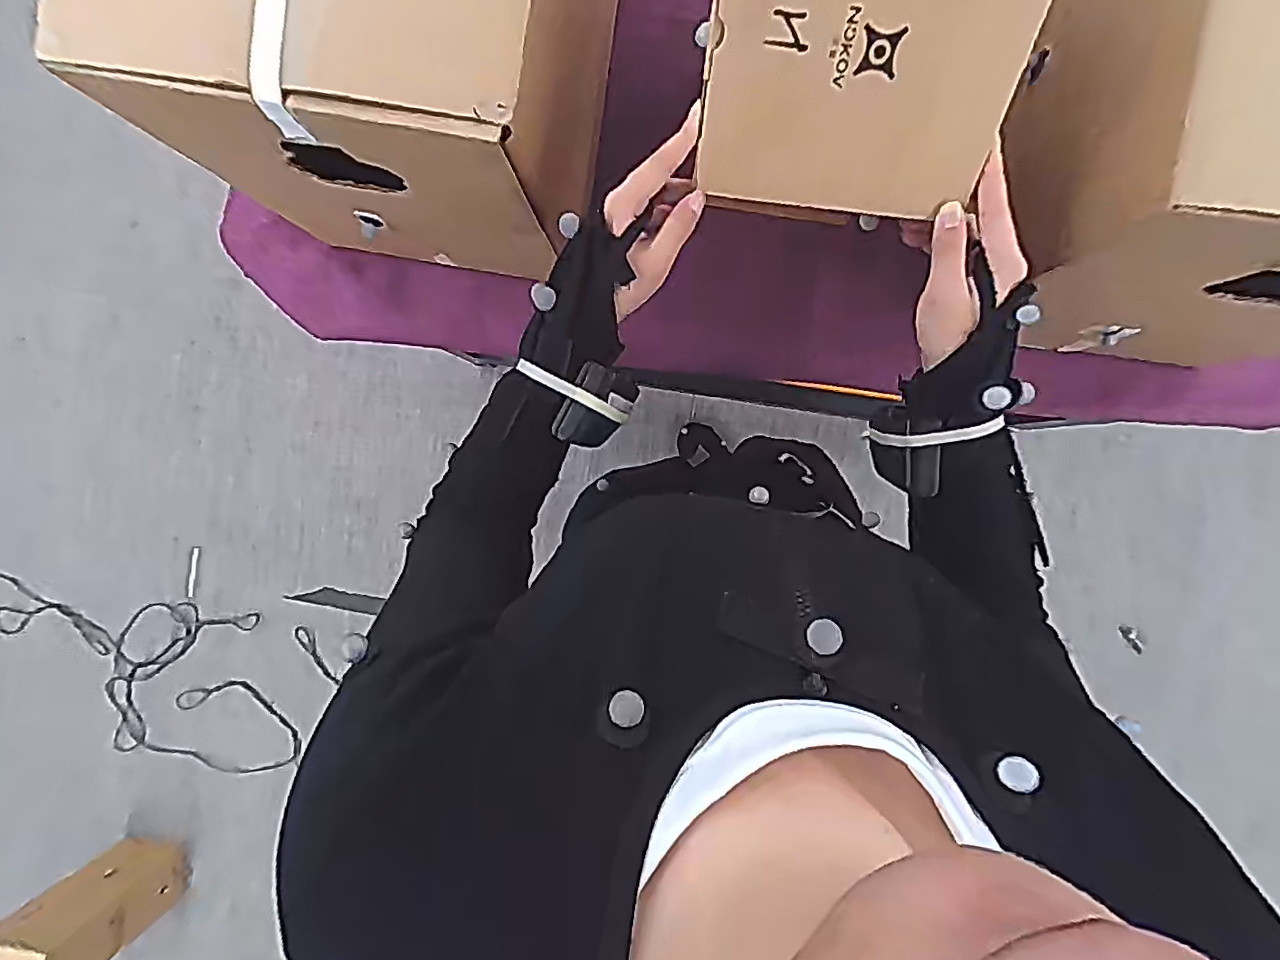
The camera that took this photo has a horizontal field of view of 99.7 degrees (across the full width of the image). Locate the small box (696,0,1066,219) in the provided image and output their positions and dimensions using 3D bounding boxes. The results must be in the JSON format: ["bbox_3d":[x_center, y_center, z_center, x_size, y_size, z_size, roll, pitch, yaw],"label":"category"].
[{"bbox_3d":[0.141,-0.288,0.355,0.179,0.176,0.168,10,128,4],"label":"small box"}]

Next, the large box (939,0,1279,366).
[{"bbox_3d":[0.496,-0.332,0.445,0.320,0.320,0.408,9,92,3],"label":"large box"}]

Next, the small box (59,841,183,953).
[{"bbox_3d":[-1.371,1.096,1.434,0.179,0.176,0.168,3,93,3],"label":"small box"}]
